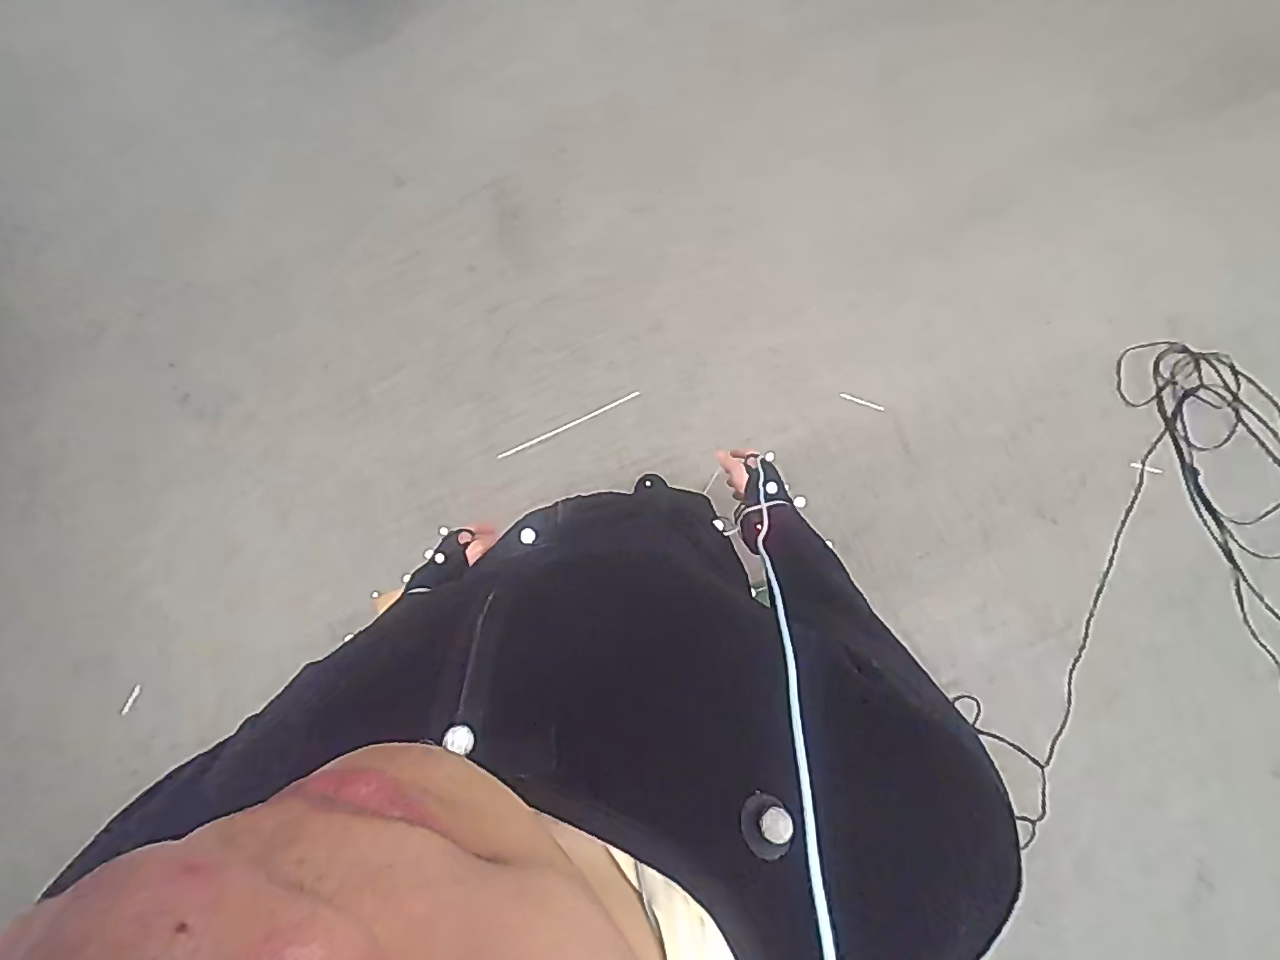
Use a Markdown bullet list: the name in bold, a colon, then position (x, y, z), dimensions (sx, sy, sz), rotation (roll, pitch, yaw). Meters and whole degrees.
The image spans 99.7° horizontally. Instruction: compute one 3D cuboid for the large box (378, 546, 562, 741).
- **large box**: position (-0.450, 0.428, 1.511), dimensions (0.320, 0.320, 0.408), rotation (-21, 86, -1)
